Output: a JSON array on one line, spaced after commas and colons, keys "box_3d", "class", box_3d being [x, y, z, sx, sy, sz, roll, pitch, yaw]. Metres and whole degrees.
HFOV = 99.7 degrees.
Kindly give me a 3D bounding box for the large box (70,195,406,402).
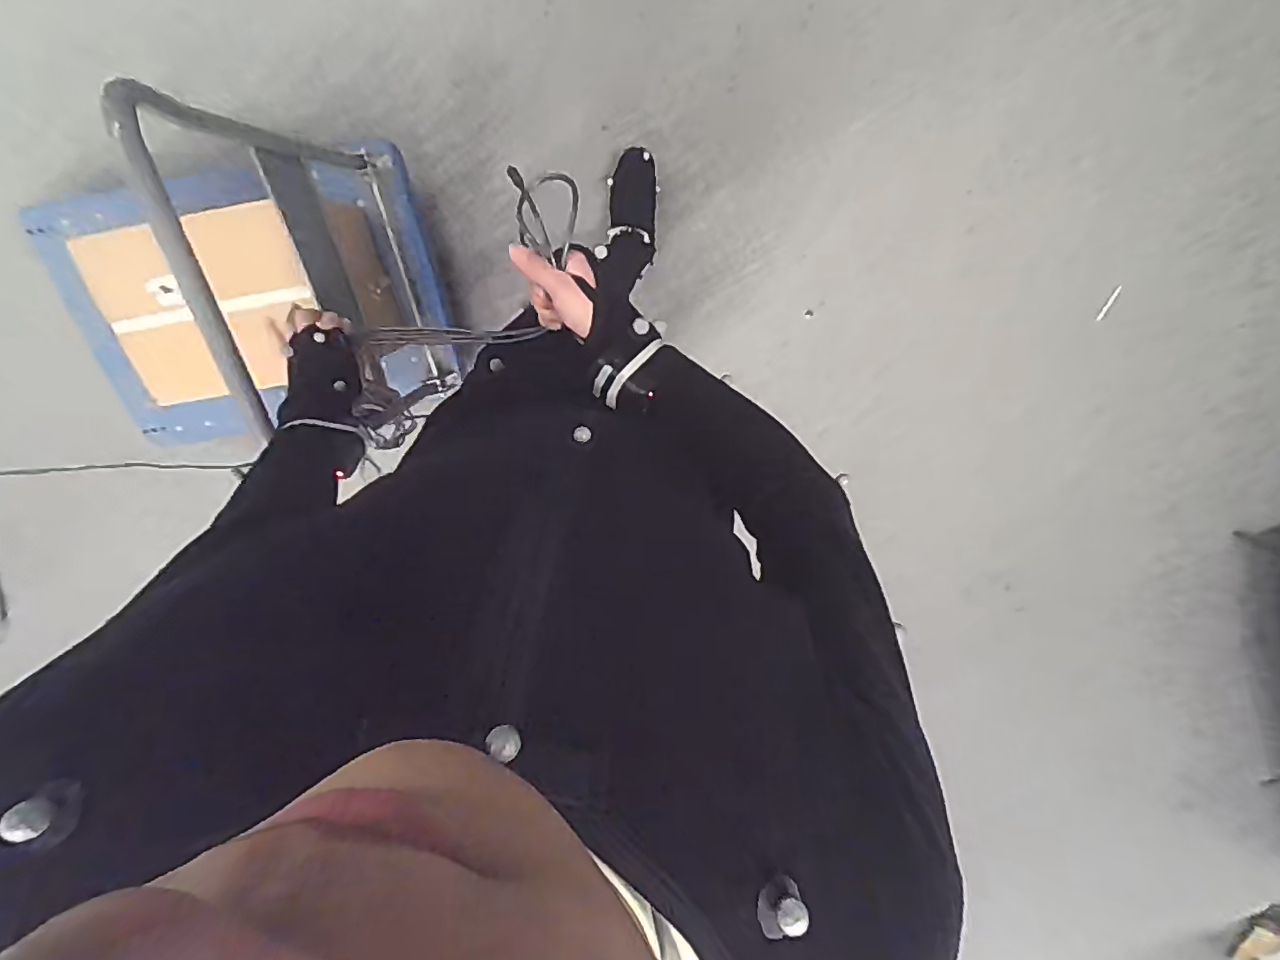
[{"box_3d": [-0.782, -0.384, 1.130, 0.408, 0.320, 0.320, -8, 114, 4], "class": "large box"}]
